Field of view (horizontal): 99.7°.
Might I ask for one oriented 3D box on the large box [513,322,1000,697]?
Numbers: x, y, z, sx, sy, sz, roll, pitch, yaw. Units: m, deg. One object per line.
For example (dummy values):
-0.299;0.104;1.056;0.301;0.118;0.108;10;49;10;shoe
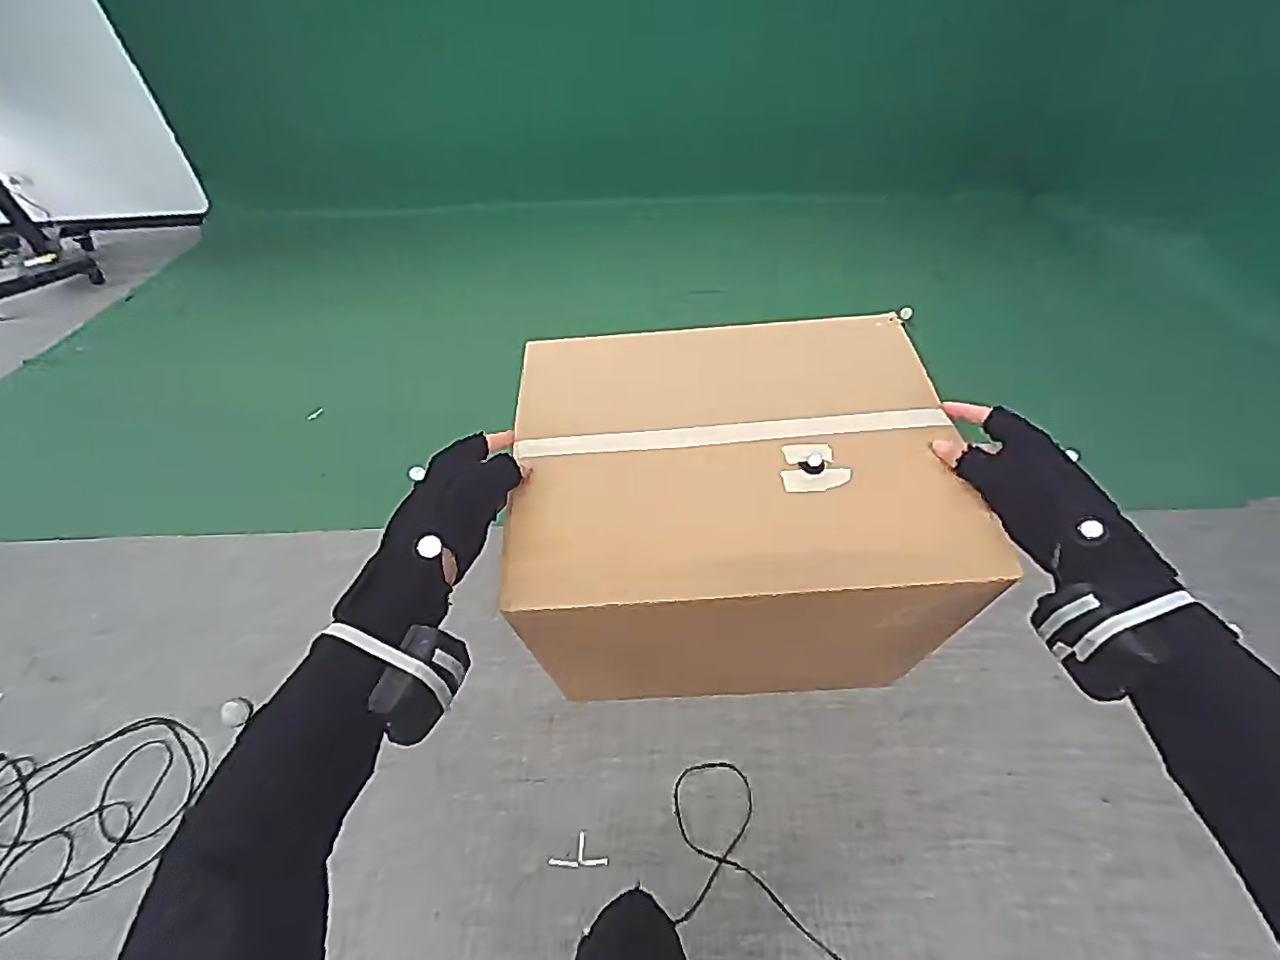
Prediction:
0.092;0.048;0.640;0.408;0.320;0.320;-4;55;1;large box
